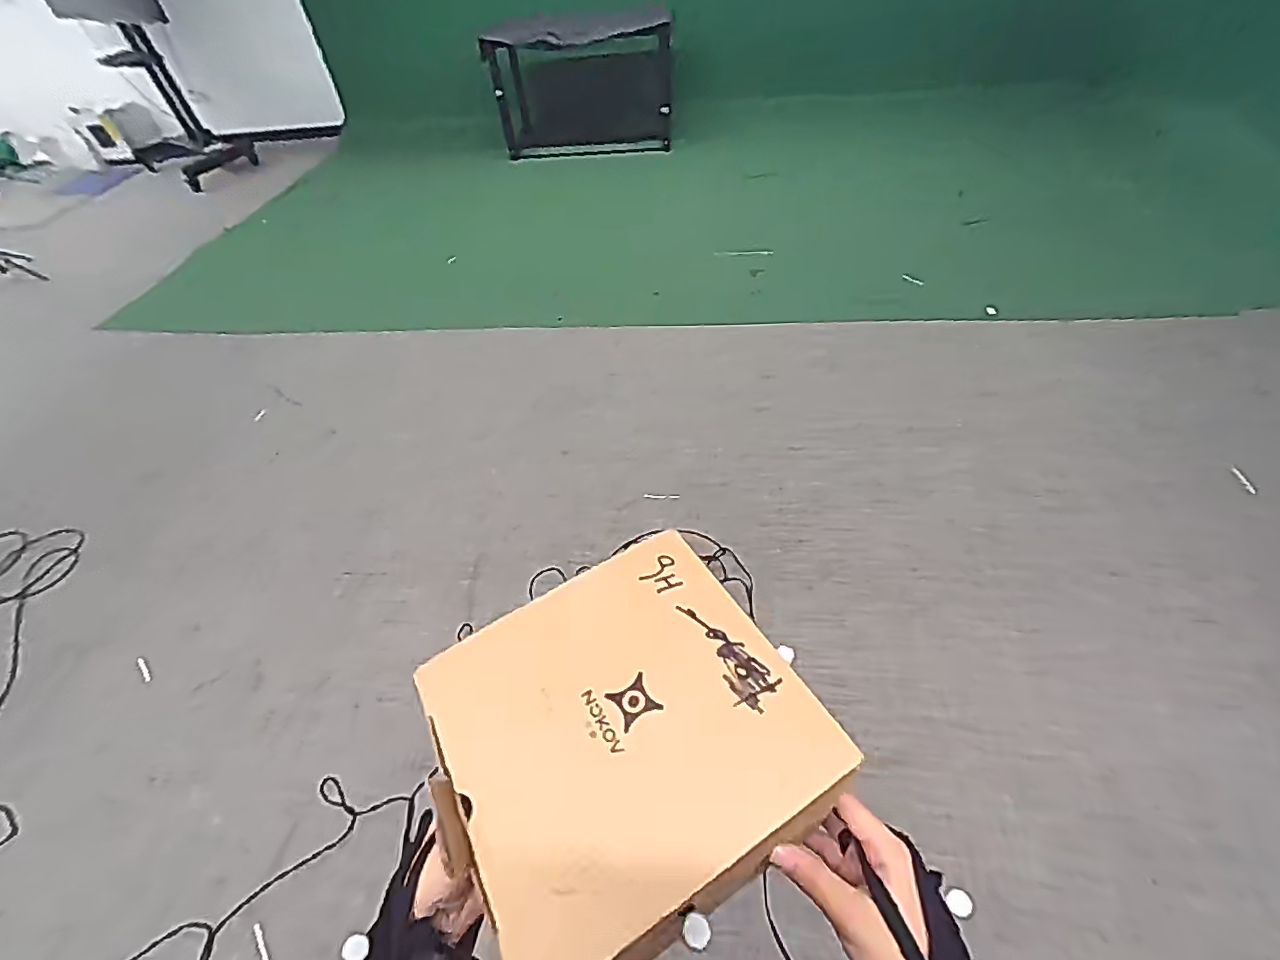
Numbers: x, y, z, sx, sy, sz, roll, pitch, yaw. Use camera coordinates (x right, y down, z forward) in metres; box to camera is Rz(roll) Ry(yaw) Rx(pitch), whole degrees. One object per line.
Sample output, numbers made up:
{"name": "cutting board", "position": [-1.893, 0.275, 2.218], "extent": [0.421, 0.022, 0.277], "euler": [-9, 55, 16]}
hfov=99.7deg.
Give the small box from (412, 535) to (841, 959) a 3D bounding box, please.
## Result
{"name": "small box", "position": [-0.007, 0.174, 0.338], "extent": [0.179, 0.176, 0.168], "euler": [-28, 51, -16]}
